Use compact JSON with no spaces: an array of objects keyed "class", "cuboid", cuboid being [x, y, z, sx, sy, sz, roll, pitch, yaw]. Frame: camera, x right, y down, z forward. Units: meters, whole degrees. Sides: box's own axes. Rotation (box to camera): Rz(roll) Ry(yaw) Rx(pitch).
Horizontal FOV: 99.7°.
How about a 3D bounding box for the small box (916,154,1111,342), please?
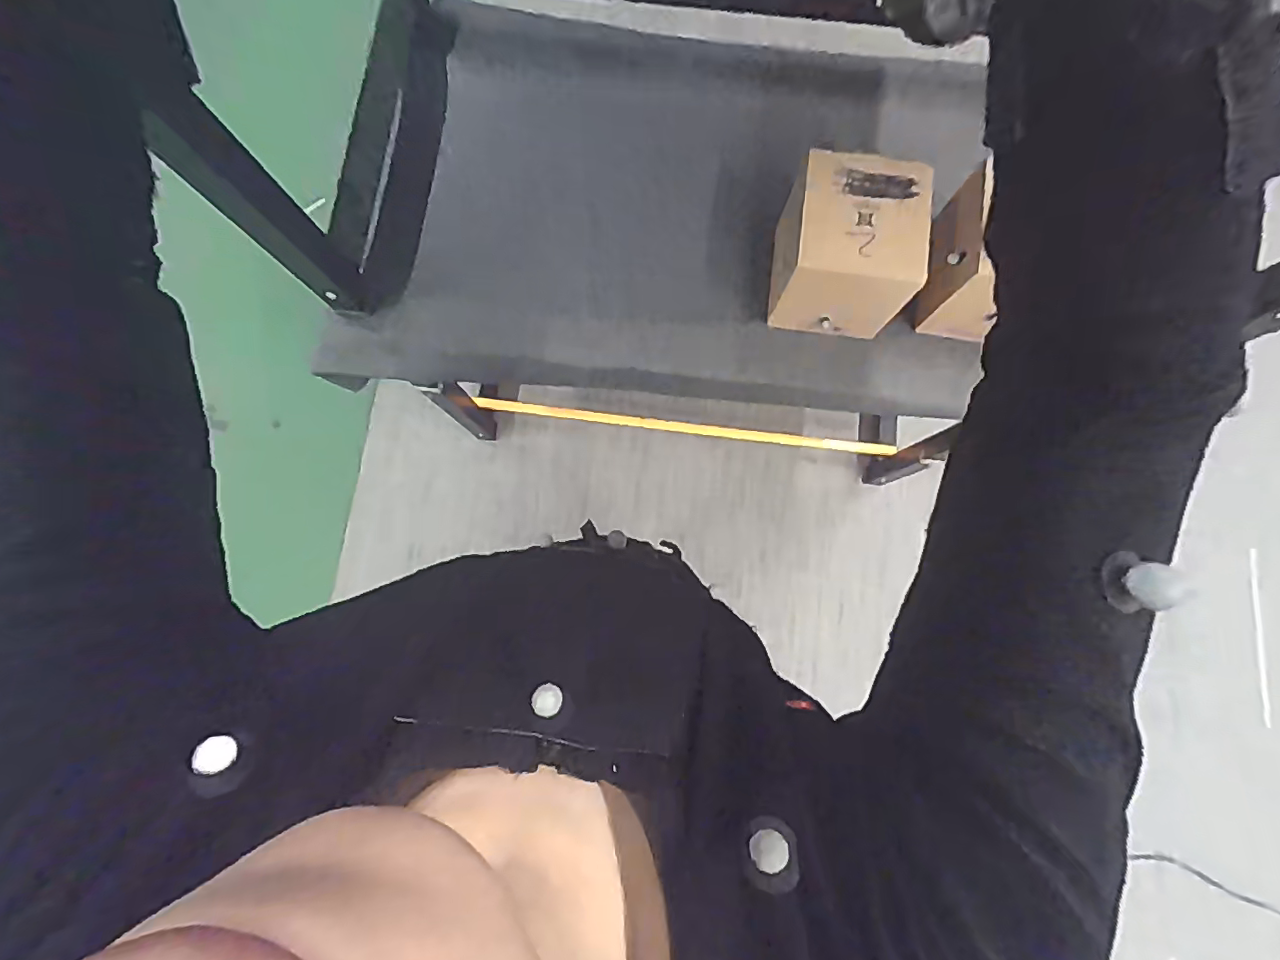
[{"class":"small box","cuboid":[0.520,-0.319,0.775,0.168,0.176,0.179,10,79,2]}]
